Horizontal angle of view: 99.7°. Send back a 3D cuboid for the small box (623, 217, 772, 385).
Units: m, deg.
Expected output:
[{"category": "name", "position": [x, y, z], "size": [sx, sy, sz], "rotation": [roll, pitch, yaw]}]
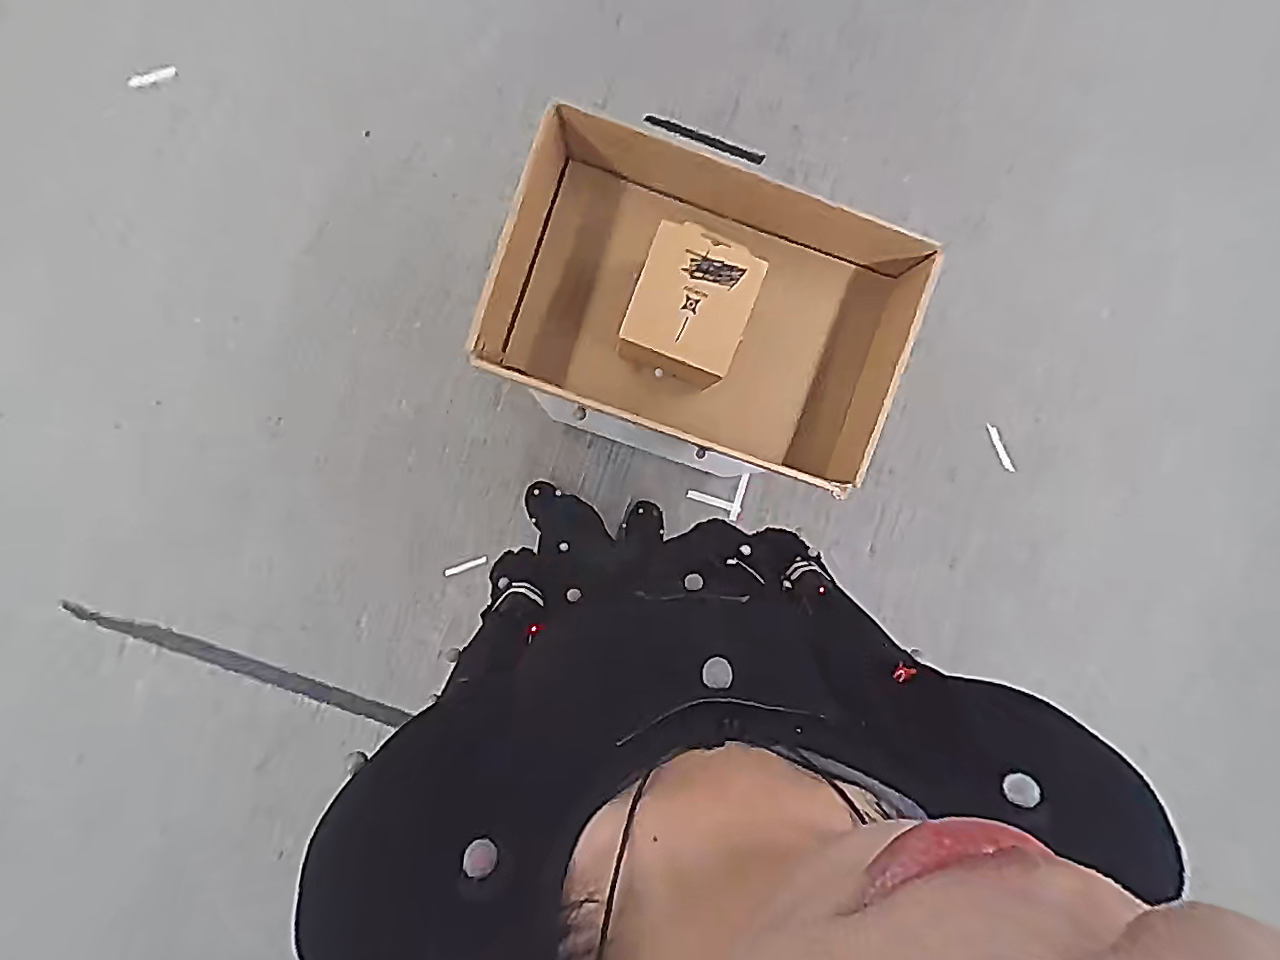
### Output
[{"category": "small box", "position": [0.077, -0.262, 0.836], "size": [0.168, 0.176, 0.179], "rotation": [21, 93, -3]}]
